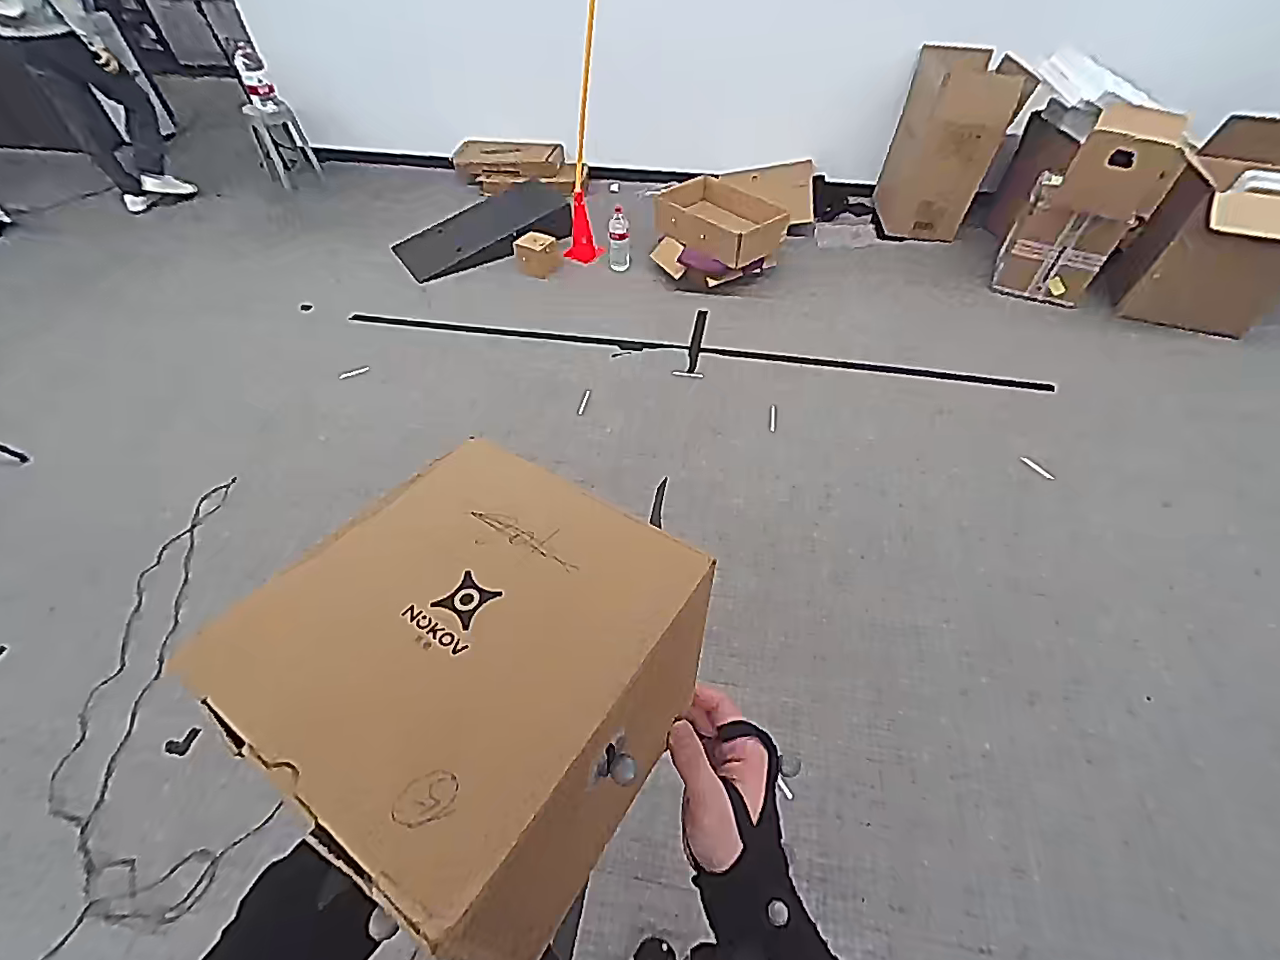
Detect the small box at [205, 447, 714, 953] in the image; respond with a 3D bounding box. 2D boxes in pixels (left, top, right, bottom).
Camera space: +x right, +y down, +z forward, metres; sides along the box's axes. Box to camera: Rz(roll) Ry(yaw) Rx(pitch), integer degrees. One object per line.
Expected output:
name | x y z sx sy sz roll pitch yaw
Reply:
small box | -0.076 0.118 0.307 0.168 0.176 0.179 26 49 22
